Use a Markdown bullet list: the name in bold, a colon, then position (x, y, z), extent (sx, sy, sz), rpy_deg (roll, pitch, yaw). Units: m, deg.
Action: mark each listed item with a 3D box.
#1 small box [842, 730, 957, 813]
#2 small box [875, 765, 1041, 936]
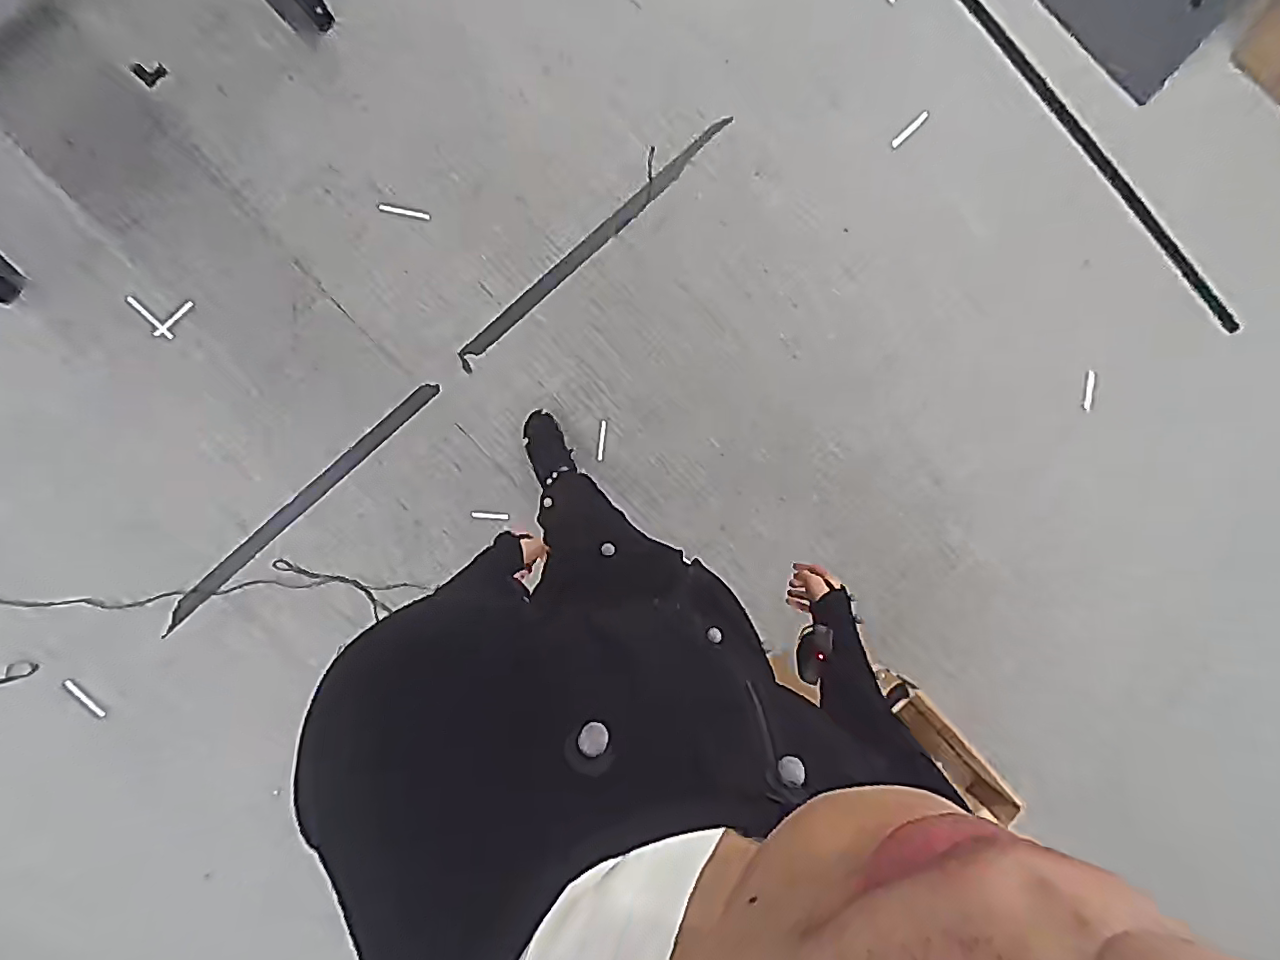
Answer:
- **small box**: position (0.591, 0.693, 1.207), extent (0.168, 0.176, 0.179), rpy_deg (-44, 96, -4)
- **small box**: position (0.600, 0.698, 1.042), extent (0.179, 0.176, 0.168), rpy_deg (45, 86, -5)
